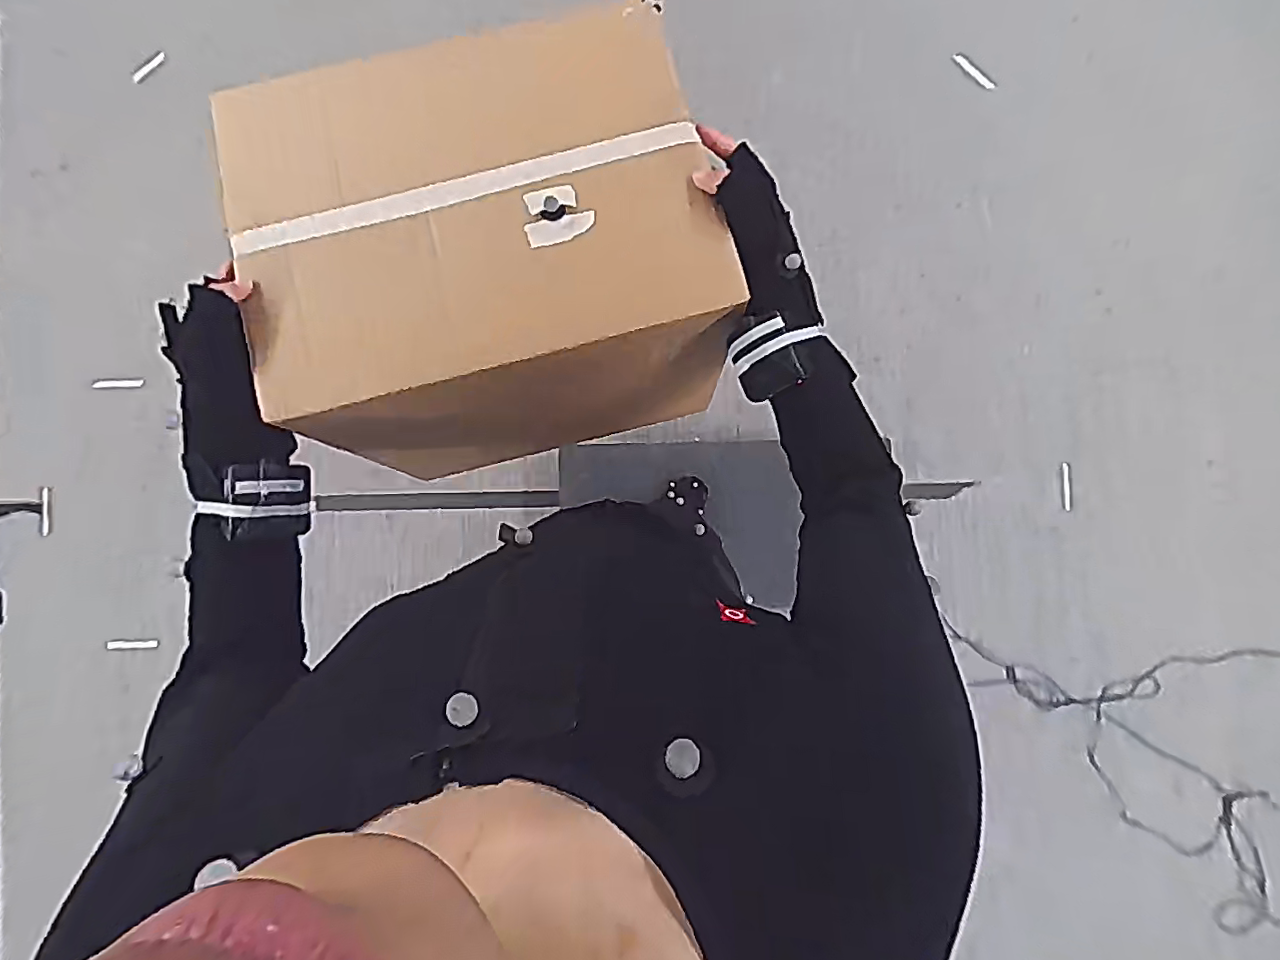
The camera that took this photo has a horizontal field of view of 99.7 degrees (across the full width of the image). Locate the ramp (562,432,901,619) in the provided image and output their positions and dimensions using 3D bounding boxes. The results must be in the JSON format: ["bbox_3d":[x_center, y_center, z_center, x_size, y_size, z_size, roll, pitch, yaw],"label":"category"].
[{"bbox_3d":[0.283,0.113,1.562,0.991,0.206,0.509,-4,87,1],"label":"ramp"}]

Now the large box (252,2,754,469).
[{"bbox_3d":[-0.129,-0.230,0.623,0.408,0.320,0.320,-14,81,-2],"label":"large box"}]
